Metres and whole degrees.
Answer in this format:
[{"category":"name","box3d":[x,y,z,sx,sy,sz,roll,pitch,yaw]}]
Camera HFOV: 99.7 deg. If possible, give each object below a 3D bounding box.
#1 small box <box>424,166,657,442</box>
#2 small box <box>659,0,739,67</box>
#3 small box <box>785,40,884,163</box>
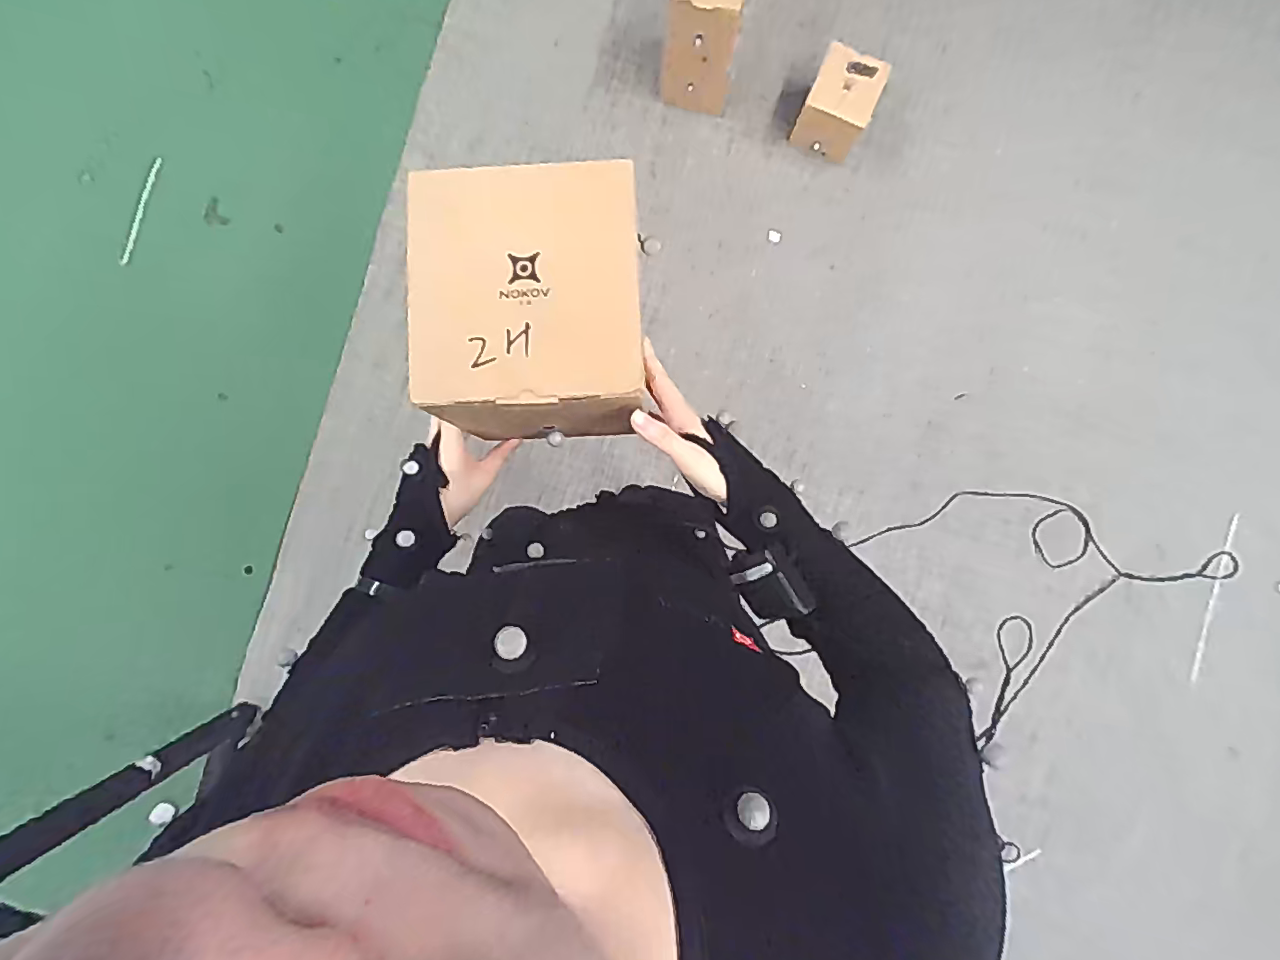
[{"category":"small box","box3d":[-0.071,-0.134,0.467,0.168,0.176,0.179,-2,85,1]},{"category":"small box","box3d":[0.144,-1.120,1.263,0.168,0.176,0.179,15,90,0]},{"category":"small box","box3d":[0.504,-0.990,1.430,0.168,0.176,0.179,23,91,0]}]
